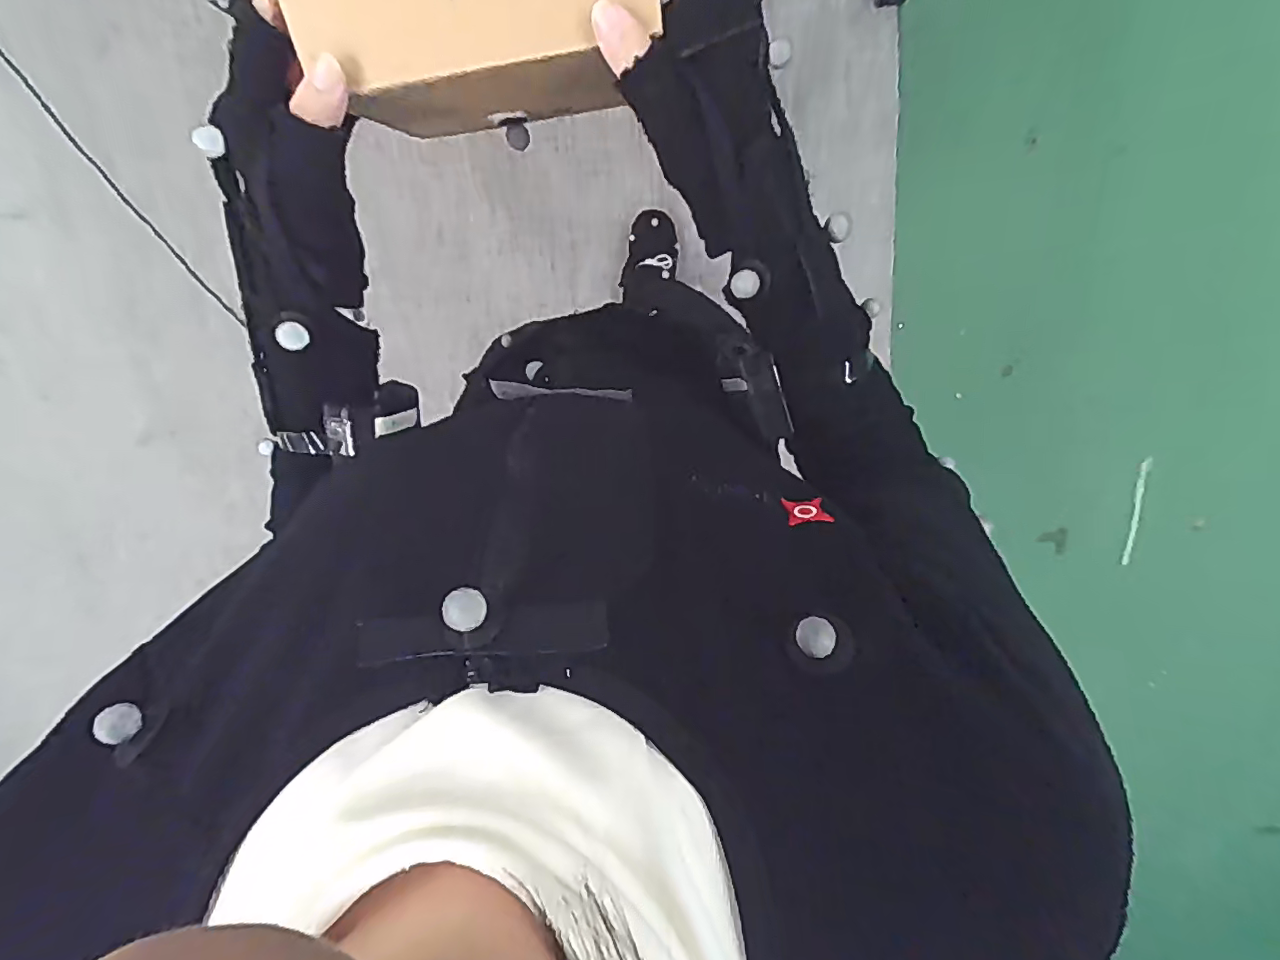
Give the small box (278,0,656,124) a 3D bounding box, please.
[{"bbox_3d":[-0.088,-0.309,0.278,0.168,0.176,0.179,-8,117,3],"label":"small box"}]
